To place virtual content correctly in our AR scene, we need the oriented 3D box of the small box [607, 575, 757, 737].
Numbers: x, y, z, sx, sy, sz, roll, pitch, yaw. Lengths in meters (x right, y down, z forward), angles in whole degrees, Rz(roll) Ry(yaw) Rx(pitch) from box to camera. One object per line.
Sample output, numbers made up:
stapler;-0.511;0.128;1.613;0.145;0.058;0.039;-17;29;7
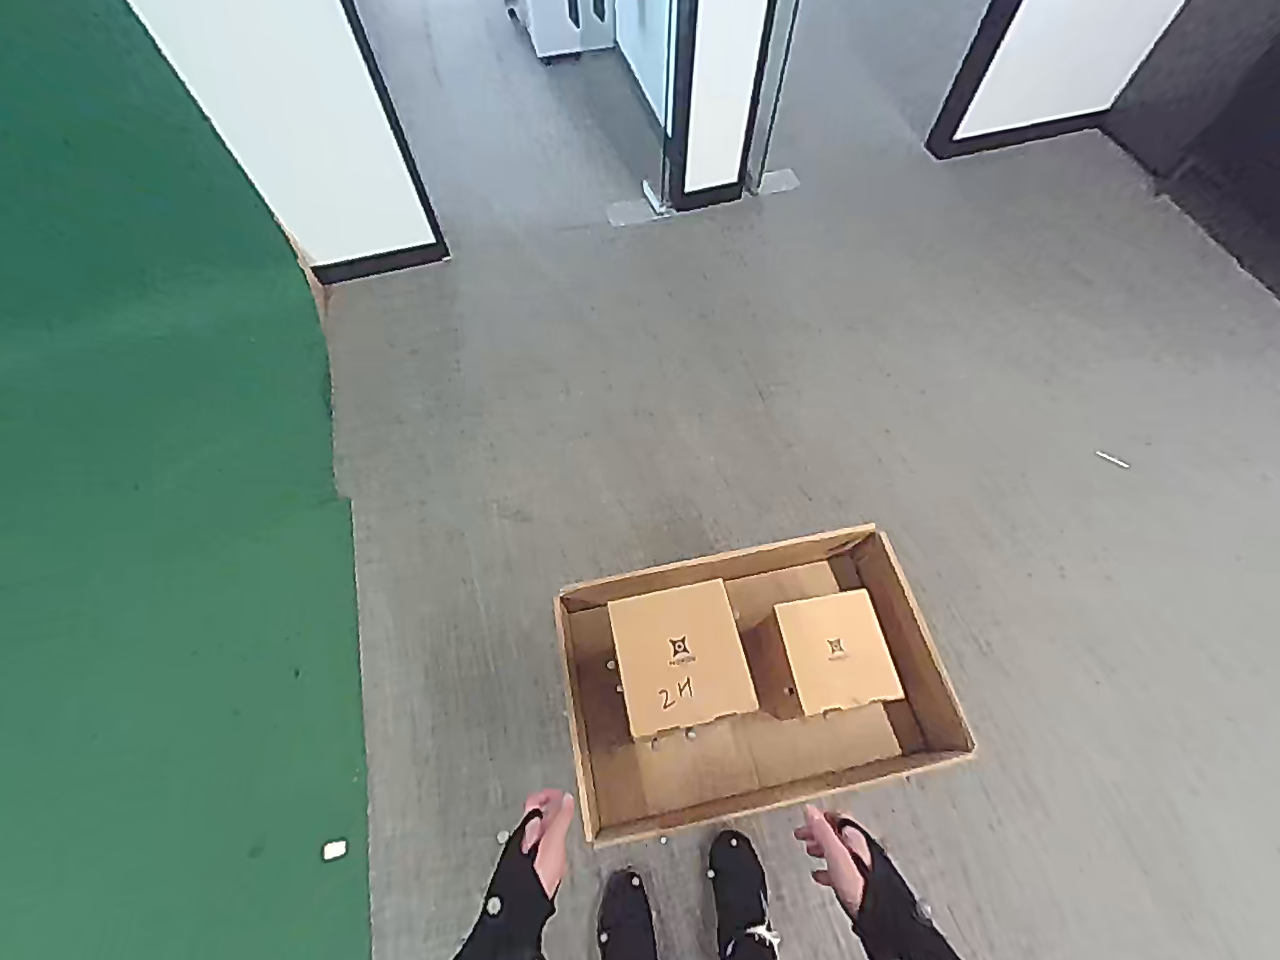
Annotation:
small box;0.051;0.256;0.772;0.168;0.176;0.179;-12;64;-3
